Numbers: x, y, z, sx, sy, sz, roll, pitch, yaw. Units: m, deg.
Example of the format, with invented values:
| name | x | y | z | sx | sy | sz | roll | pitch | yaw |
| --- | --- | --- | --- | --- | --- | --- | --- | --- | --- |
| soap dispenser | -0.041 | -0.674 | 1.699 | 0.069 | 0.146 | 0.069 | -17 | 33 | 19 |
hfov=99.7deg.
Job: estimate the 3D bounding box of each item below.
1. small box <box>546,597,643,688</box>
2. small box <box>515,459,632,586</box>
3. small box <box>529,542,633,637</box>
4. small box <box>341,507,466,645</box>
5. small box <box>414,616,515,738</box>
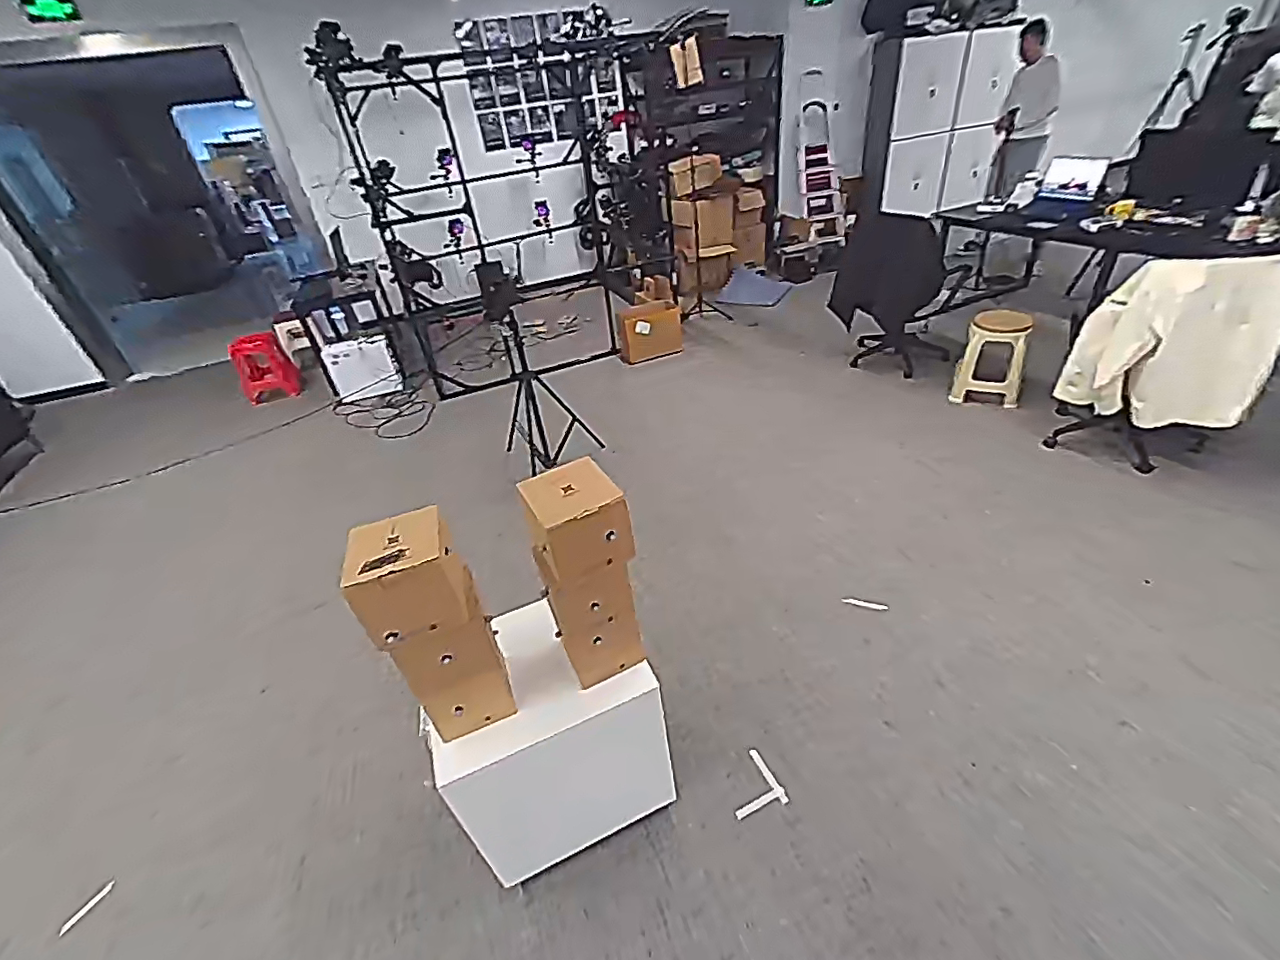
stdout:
| name | x | y | z | sx | sy | sz | roll | pitch | yaw |
| --- | --- | --- | --- | --- | --- | --- | --- | --- | --- |
| small box | -0.107 | 0.353 | 1.284 | 0.168 | 0.176 | 0.179 | -22 | 37 | -16 |
| small box | -0.130 | 0.089 | 1.089 | 0.168 | 0.176 | 0.179 | -23 | 37 | -20 |
| small box | -0.127 | 0.220 | 1.189 | 0.168 | 0.176 | 0.179 | -21 | 37 | -16 |
| small box | -0.436 | 0.185 | 1.019 | 0.168 | 0.176 | 0.179 | -17 | 35 | -12 |
| small box | -0.392 | 0.447 | 1.214 | 0.168 | 0.176 | 0.179 | -19 | 36 | -15 |
